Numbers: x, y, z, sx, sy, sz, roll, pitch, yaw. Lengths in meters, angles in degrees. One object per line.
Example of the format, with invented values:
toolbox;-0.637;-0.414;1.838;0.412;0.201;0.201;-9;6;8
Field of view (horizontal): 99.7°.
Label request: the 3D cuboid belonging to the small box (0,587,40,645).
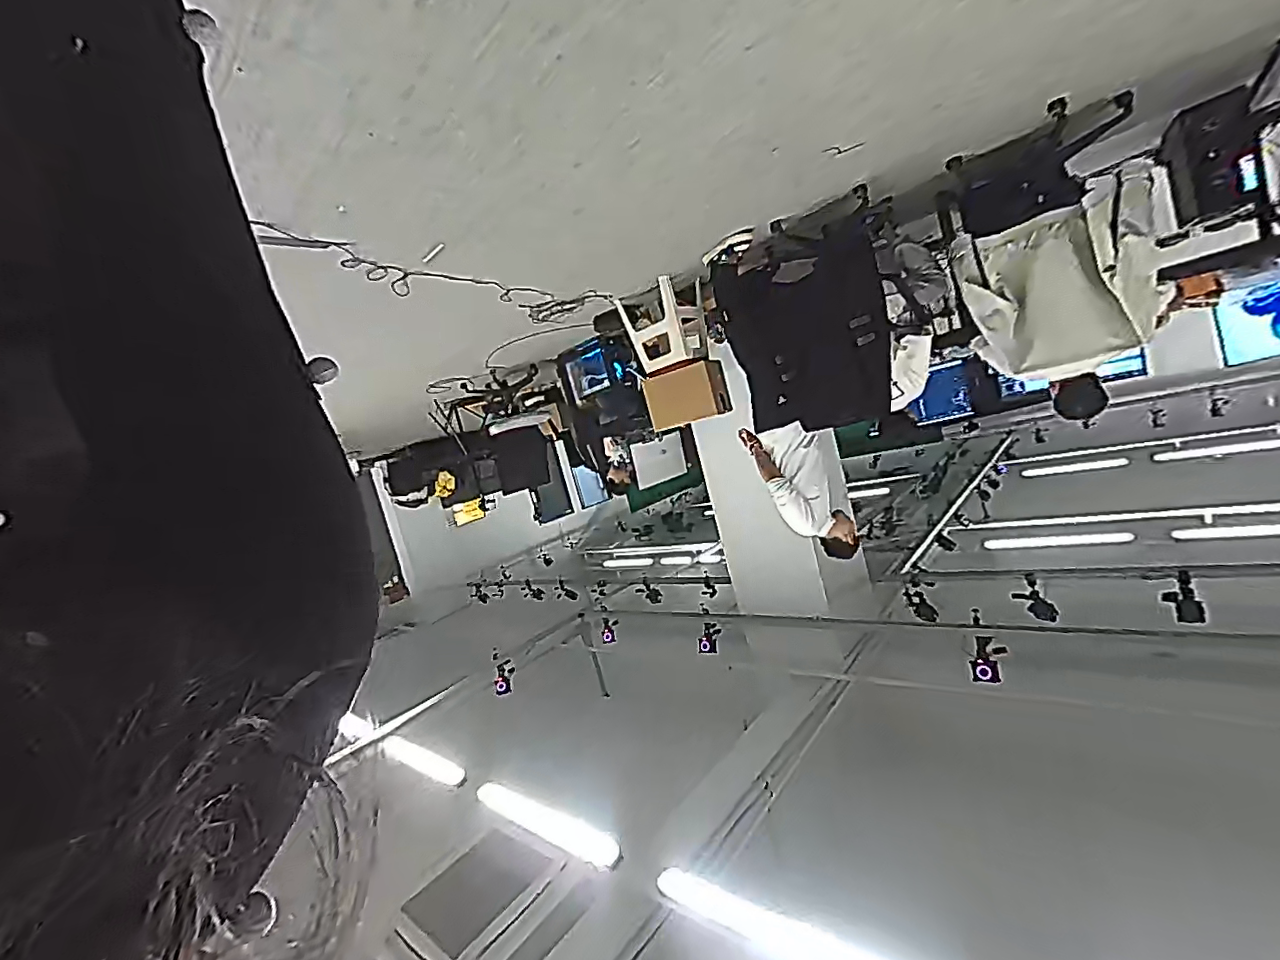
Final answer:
small box;-2.082;0.447;1.735;0.168;0.176;0.179;-19;-174;-41
